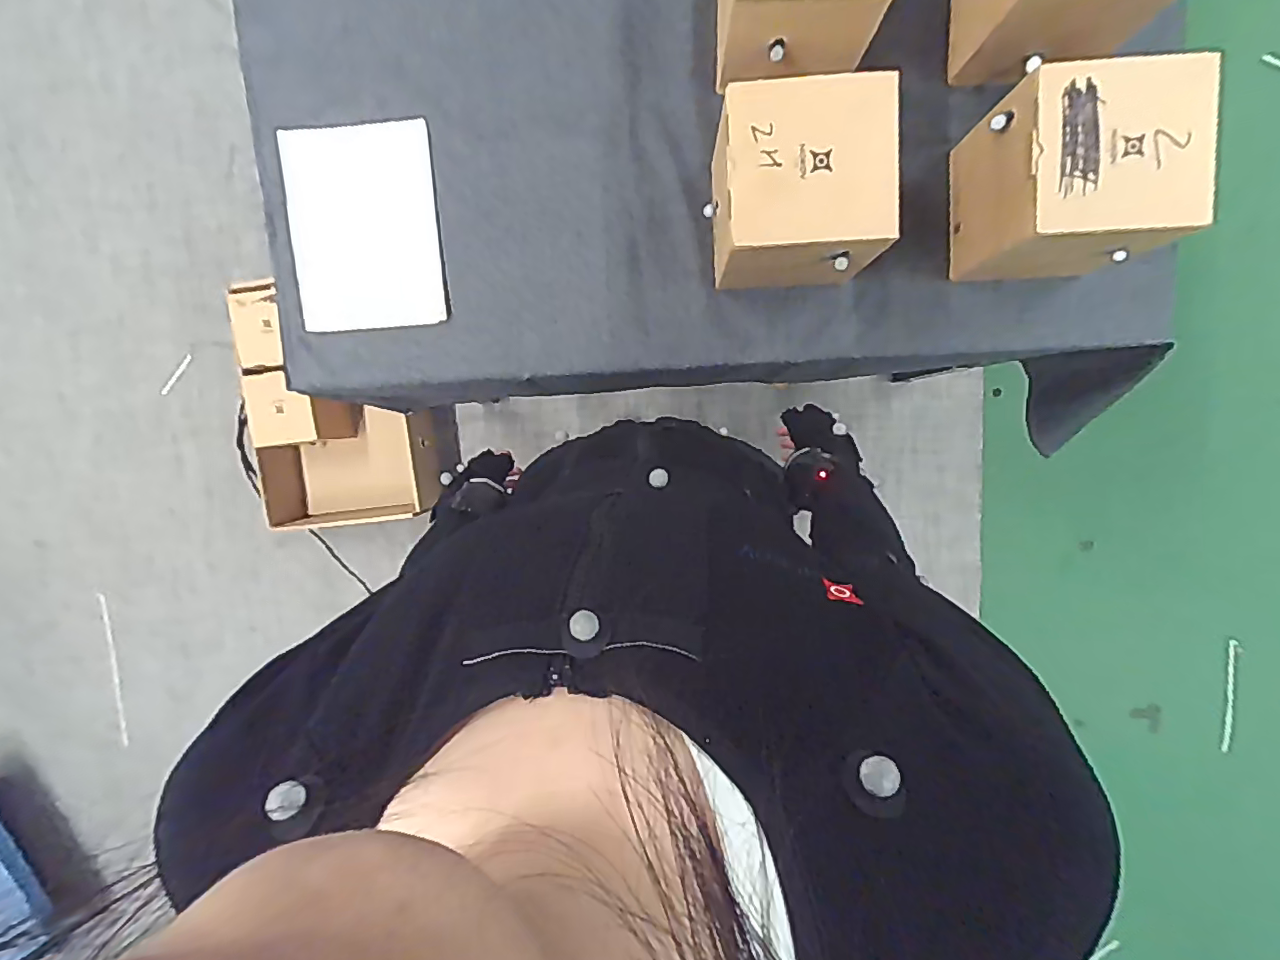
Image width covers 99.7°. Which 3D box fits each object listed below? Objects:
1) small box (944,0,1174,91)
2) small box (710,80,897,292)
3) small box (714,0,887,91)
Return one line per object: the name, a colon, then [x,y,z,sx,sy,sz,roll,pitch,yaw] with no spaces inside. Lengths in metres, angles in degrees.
small box: [0.465,-0.578,0.603,0.168,0.176,0.179,0,96,3]
small box: [0.179,-0.328,0.637,0.179,0.176,0.168,-2,94,3]
small box: [0.176,-0.574,0.620,0.168,0.176,0.179,0,95,3]
